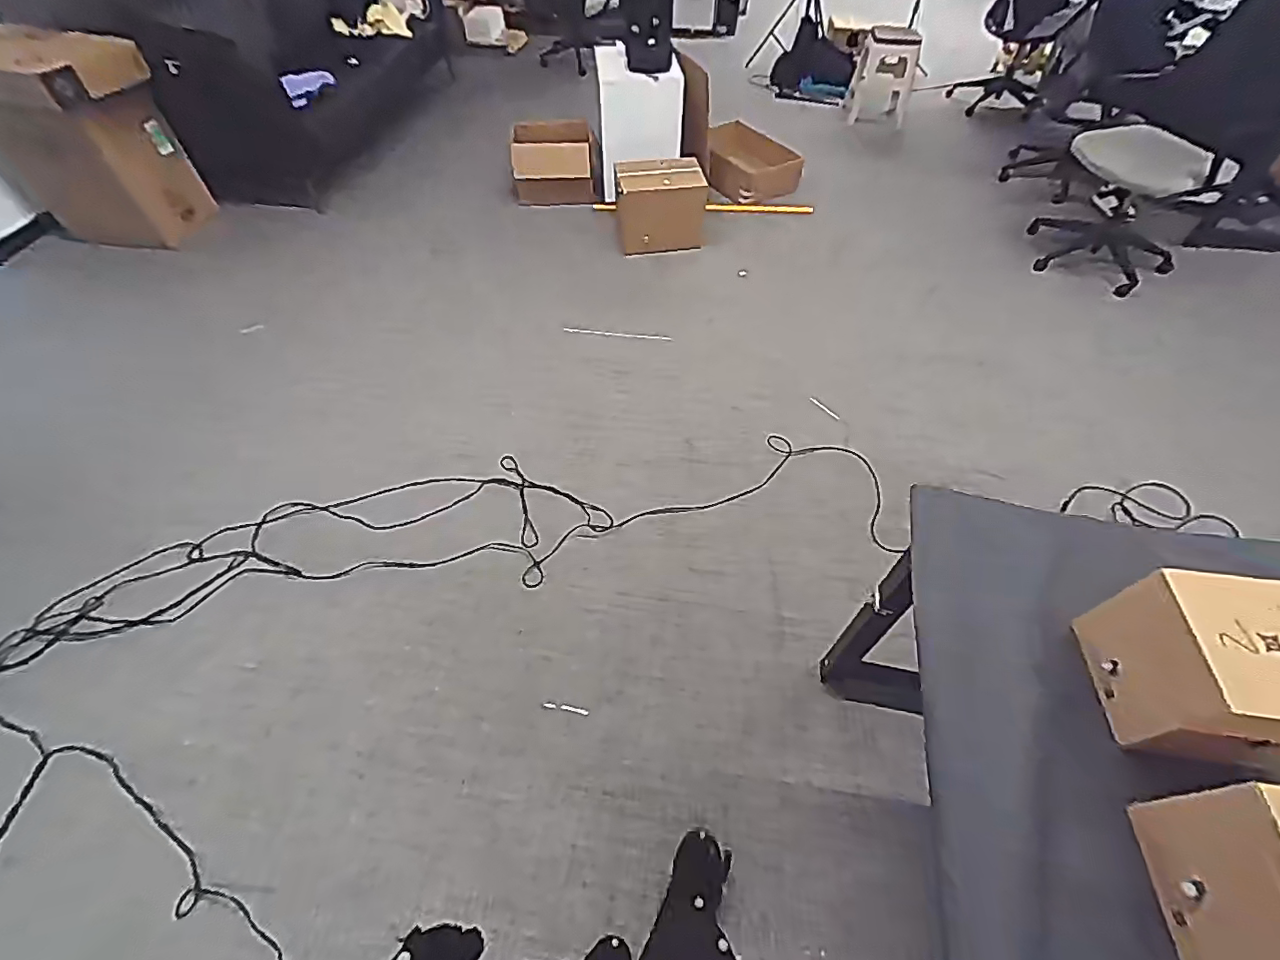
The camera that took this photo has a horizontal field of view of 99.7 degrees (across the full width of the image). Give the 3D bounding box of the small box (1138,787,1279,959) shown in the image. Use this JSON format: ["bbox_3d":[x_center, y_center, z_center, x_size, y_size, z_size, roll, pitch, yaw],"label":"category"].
[{"bbox_3d":[0.636,0.399,0.498,0.179,0.176,0.168,7,52,5],"label":"small box"}]
